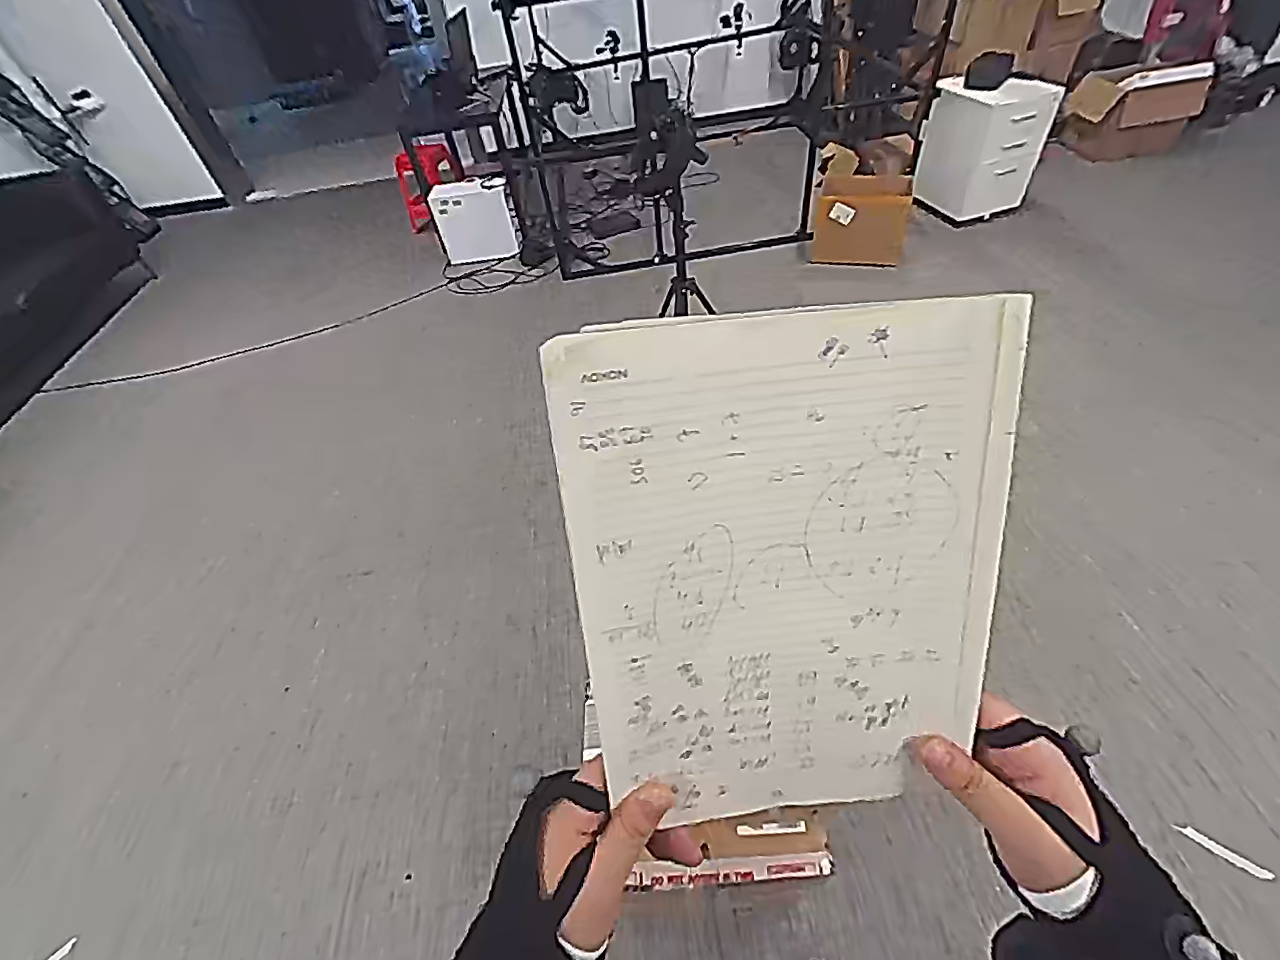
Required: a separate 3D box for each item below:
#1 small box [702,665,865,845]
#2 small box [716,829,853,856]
[{"bbox_3d":[0.170,0.361,0.708,0.168,0.176,0.179,-2,49,3],"label":"small box"},{"bbox_3d":[0.200,0.466,0.832,0.179,0.176,0.168,-6,48,1],"label":"small box"}]
